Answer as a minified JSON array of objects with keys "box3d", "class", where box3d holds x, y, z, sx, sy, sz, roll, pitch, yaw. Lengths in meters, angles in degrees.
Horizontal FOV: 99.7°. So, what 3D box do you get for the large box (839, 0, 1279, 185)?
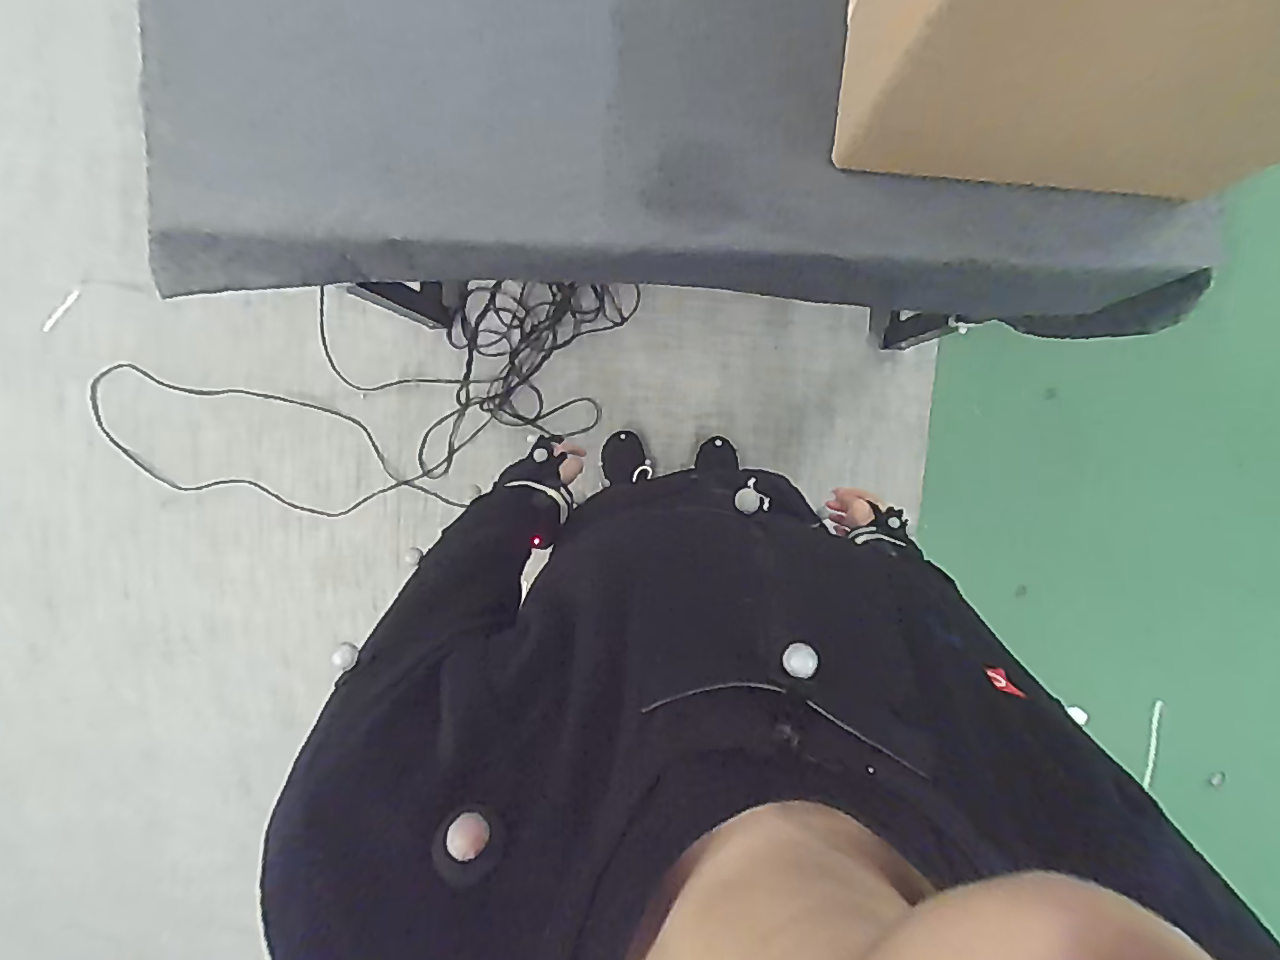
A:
[{"box3d":[0.418,-0.472,0.431,0.408,0.320,0.320,5,96,0],"class":"large box"}]
